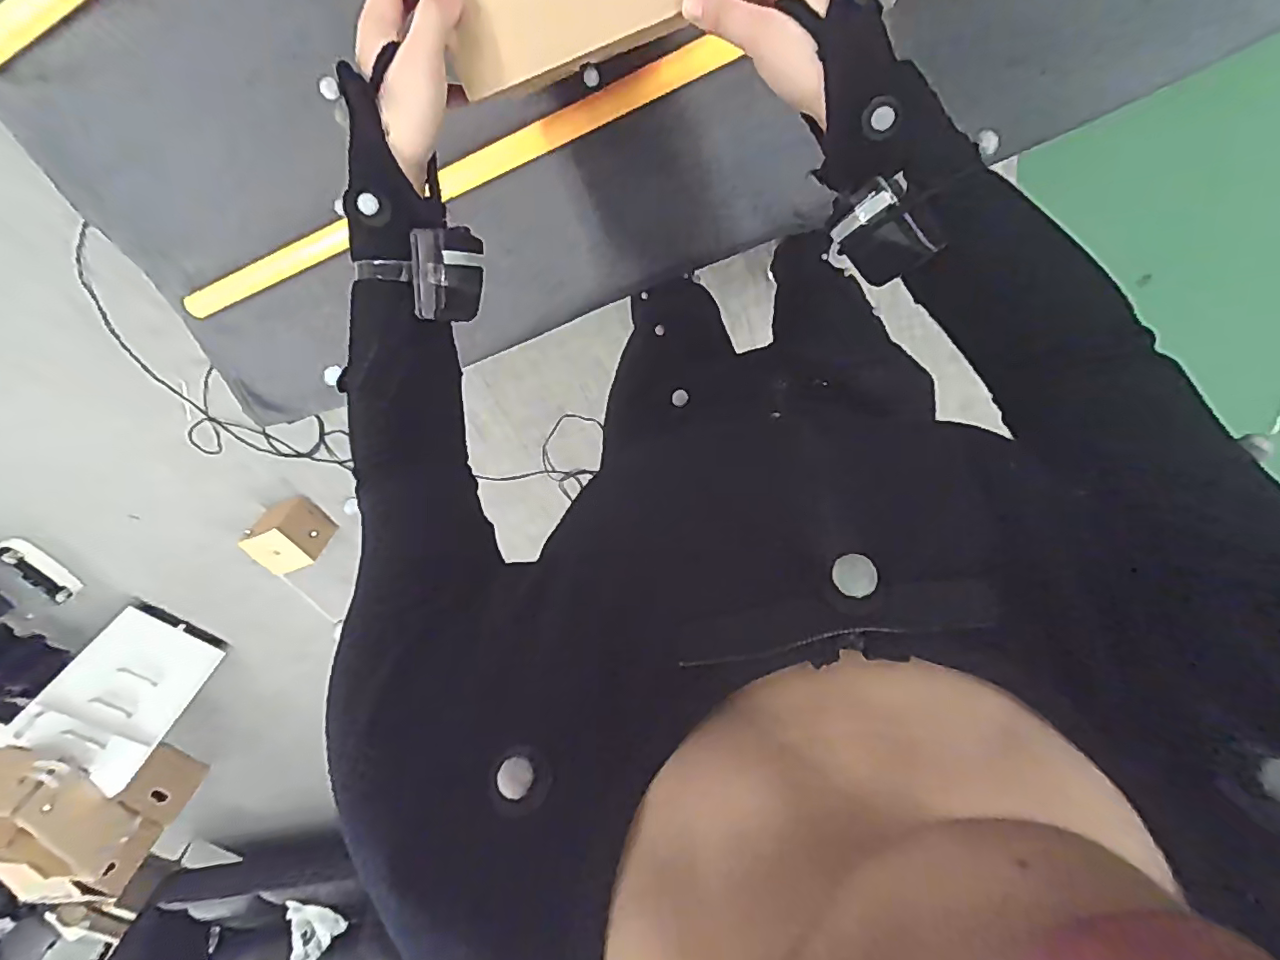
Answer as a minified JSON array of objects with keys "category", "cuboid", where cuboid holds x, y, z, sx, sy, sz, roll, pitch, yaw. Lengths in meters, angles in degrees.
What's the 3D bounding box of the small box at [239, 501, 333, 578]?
[{"category":"small box","cuboid":[-1.163,0.193,1.798,0.179,0.176,0.168,-19,124,17]}]
